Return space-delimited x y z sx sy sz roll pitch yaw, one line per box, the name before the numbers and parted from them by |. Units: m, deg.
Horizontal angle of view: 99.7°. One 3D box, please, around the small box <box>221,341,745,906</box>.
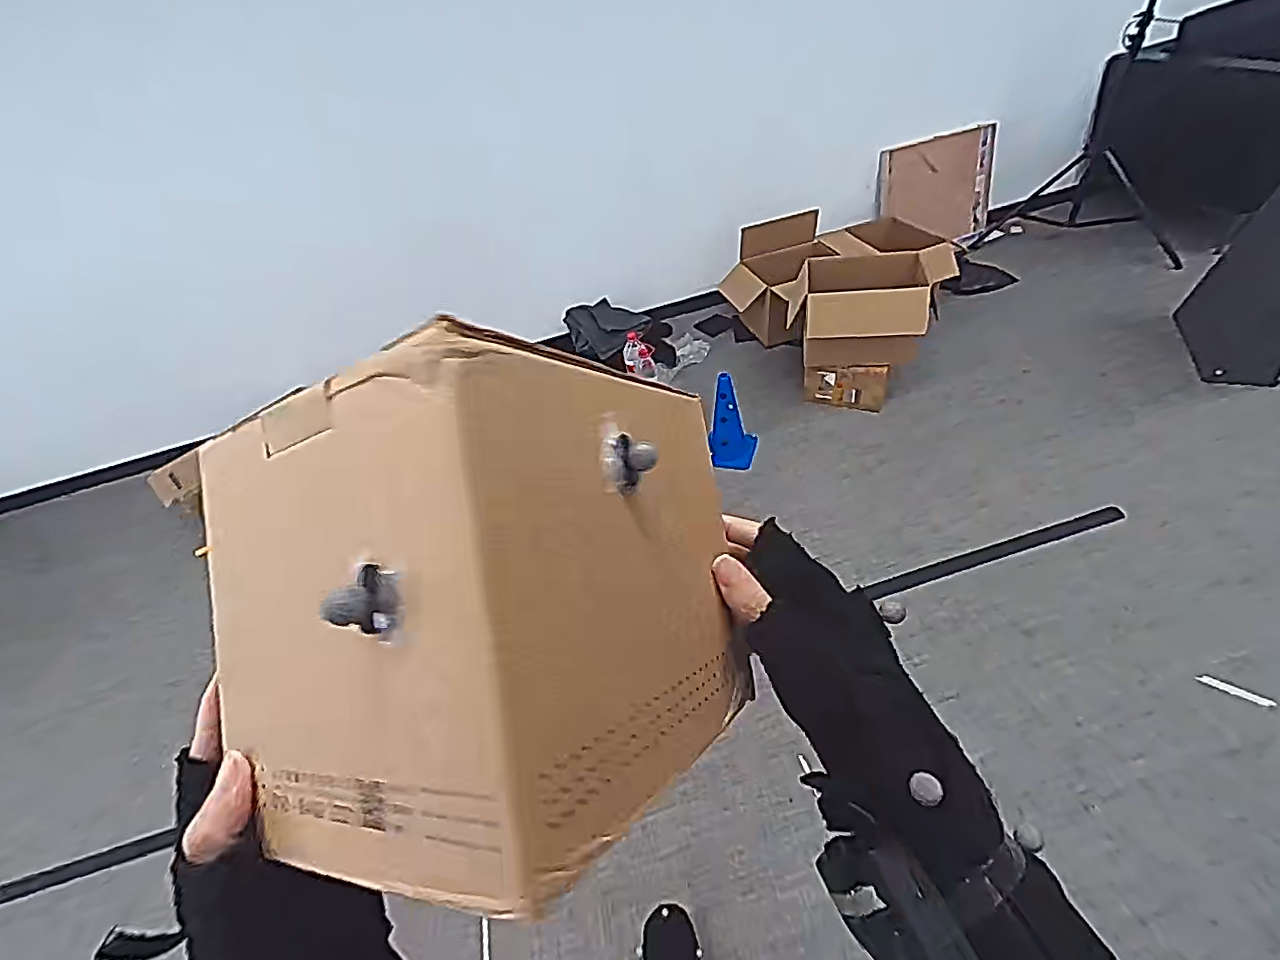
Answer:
small box | -0.064 0.057 0.263 0.168 0.179 0.176 -14 81 33
